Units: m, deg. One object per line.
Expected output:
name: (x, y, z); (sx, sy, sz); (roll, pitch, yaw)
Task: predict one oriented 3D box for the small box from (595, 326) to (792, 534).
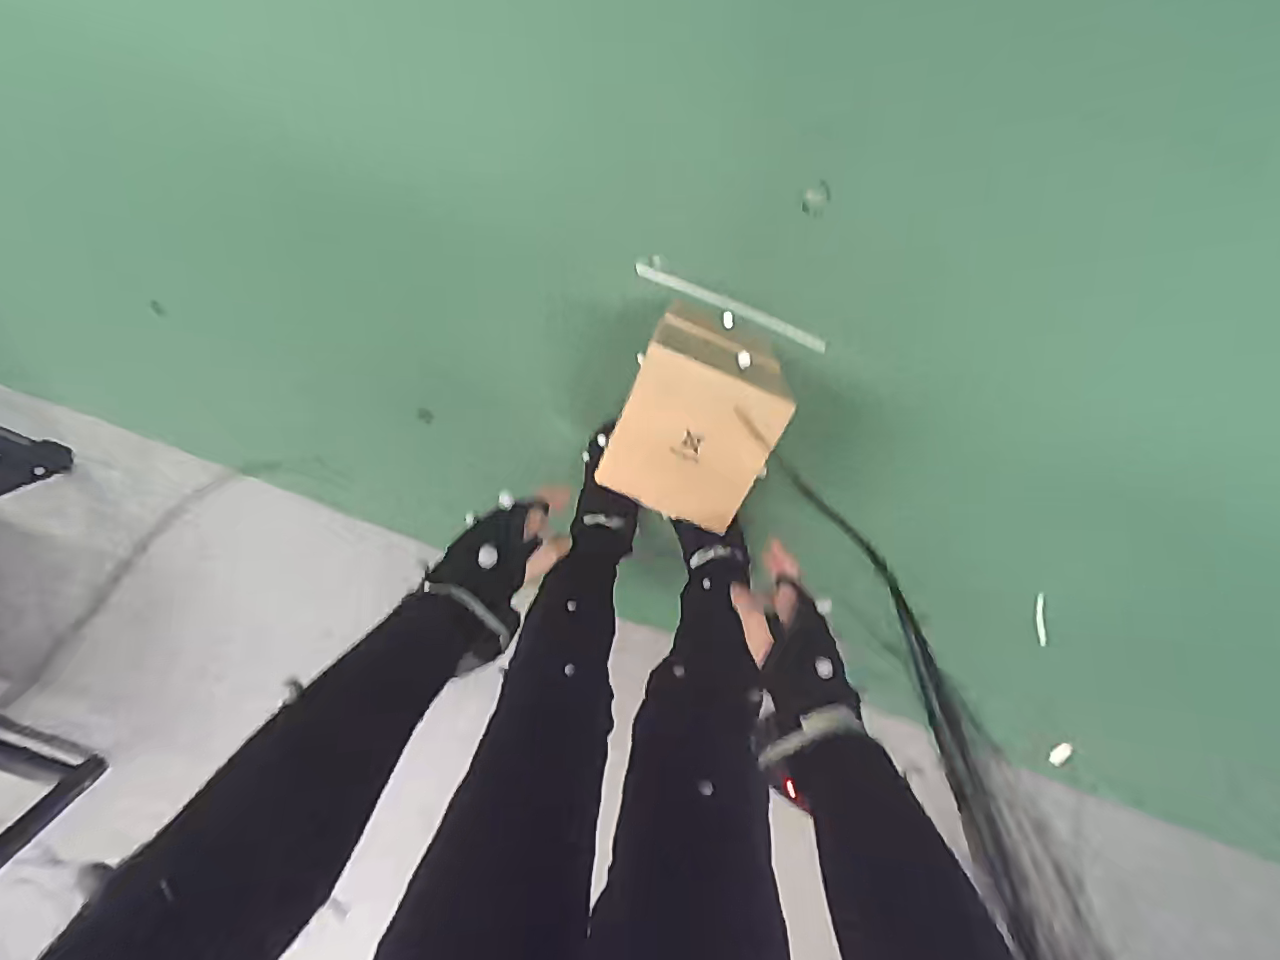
small box: (0.061, -0.071, 0.663); (0.168, 0.176, 0.179); (23, 116, -3)
